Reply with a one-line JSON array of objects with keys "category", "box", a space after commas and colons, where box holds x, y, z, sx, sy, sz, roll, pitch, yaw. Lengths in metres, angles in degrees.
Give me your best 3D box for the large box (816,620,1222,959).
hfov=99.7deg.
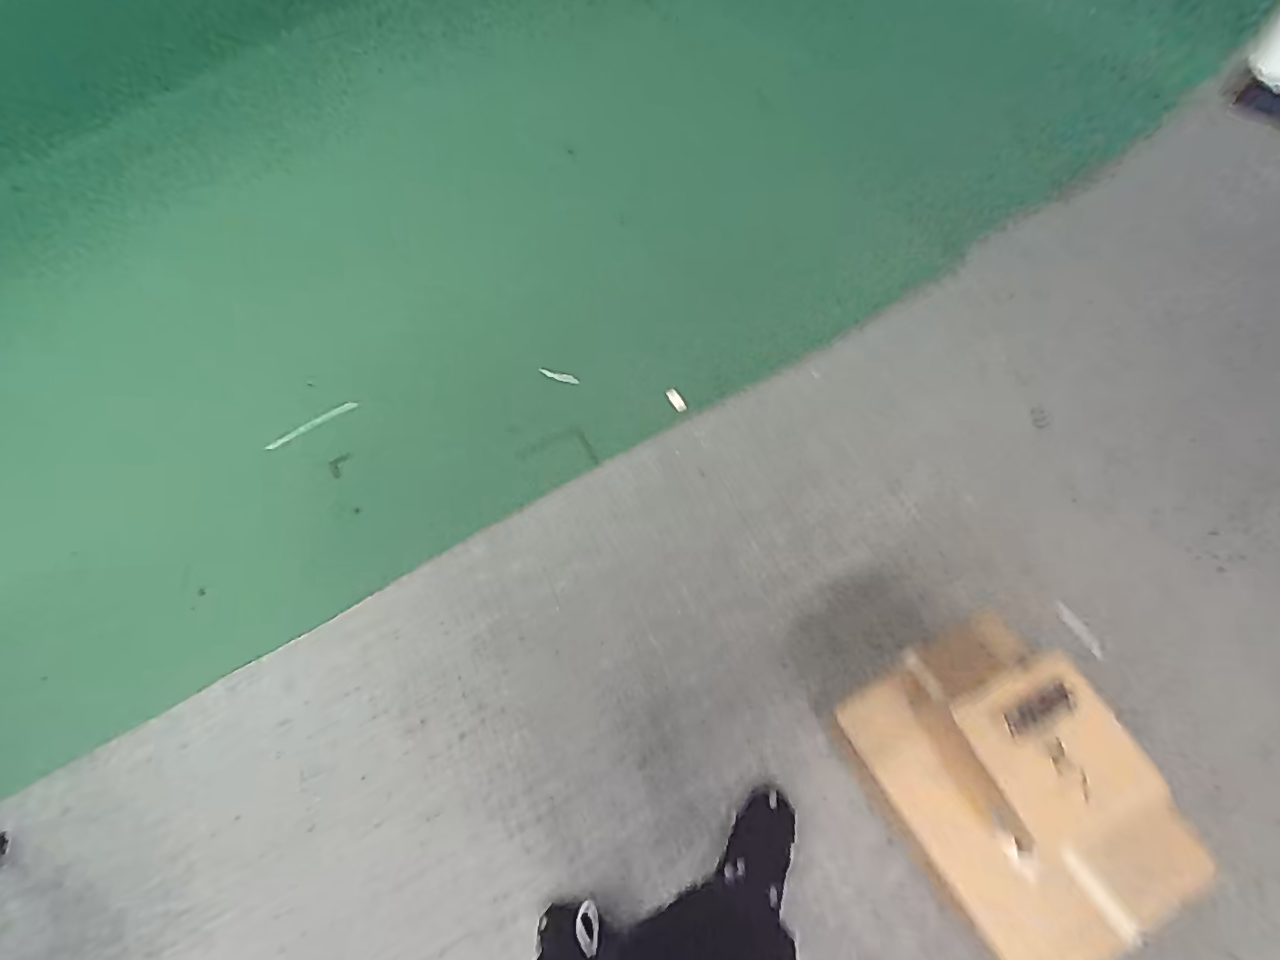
[{"category": "large box", "box": [0.562, 0.509, 0.916, 0.320, 0.320, 0.408, -32, 64, -3]}]
